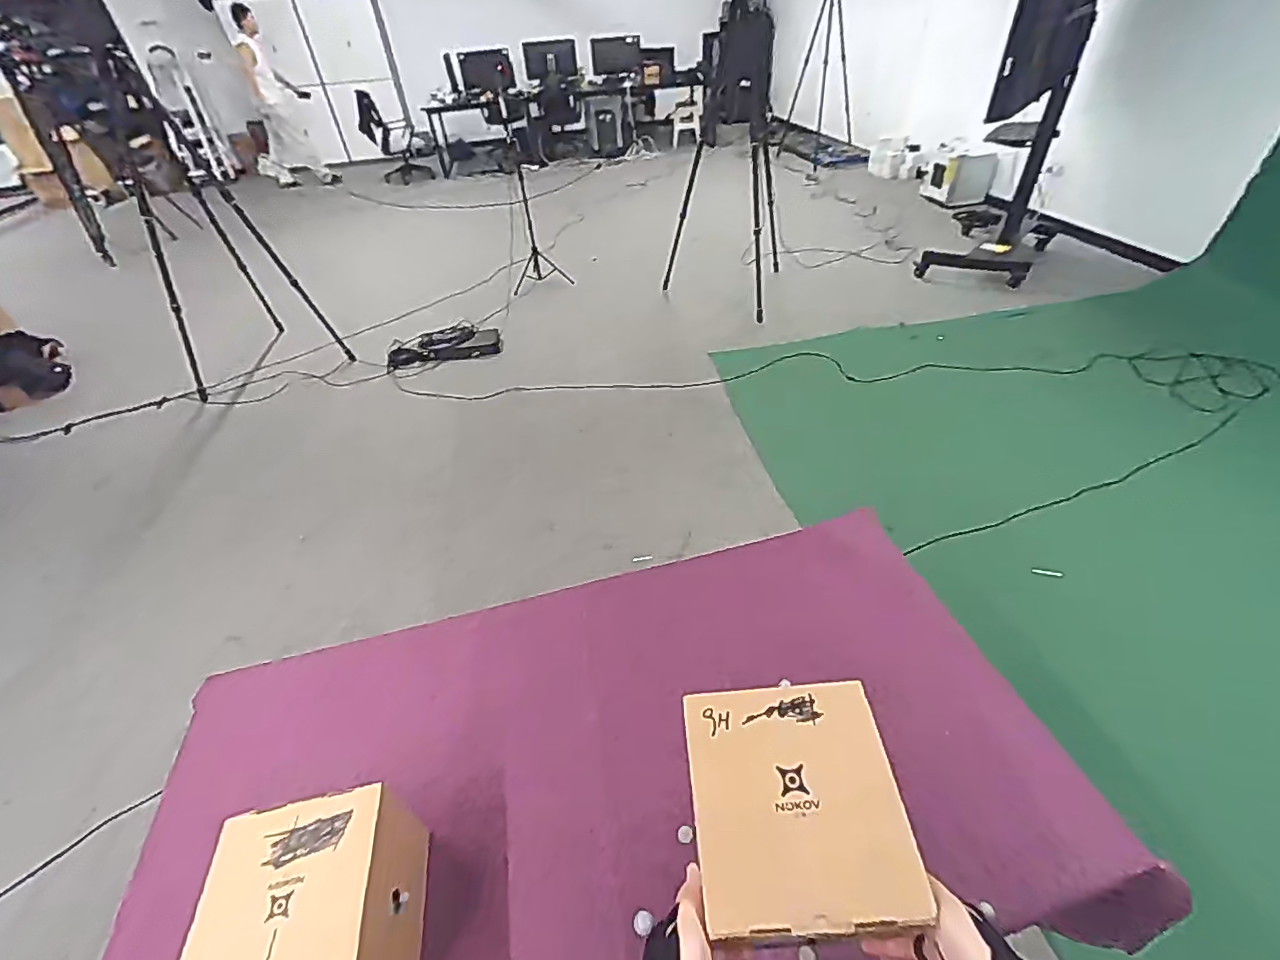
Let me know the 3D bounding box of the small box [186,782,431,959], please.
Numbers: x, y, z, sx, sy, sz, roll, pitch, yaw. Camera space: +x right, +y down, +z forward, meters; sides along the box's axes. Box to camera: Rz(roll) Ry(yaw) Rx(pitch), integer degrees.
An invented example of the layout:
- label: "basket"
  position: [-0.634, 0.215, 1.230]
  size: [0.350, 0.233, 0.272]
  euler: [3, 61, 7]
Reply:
- label: "small box"
  position: [-0.337, 0.463, 0.582]
  size: [0.168, 0.176, 0.179]
  euler: [-11, 43, -6]

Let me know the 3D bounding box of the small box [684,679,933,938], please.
- label: "small box"
  position: [0.134, 0.308, 0.502]
  size: [0.168, 0.176, 0.179]
  euler: [-6, 47, 2]
